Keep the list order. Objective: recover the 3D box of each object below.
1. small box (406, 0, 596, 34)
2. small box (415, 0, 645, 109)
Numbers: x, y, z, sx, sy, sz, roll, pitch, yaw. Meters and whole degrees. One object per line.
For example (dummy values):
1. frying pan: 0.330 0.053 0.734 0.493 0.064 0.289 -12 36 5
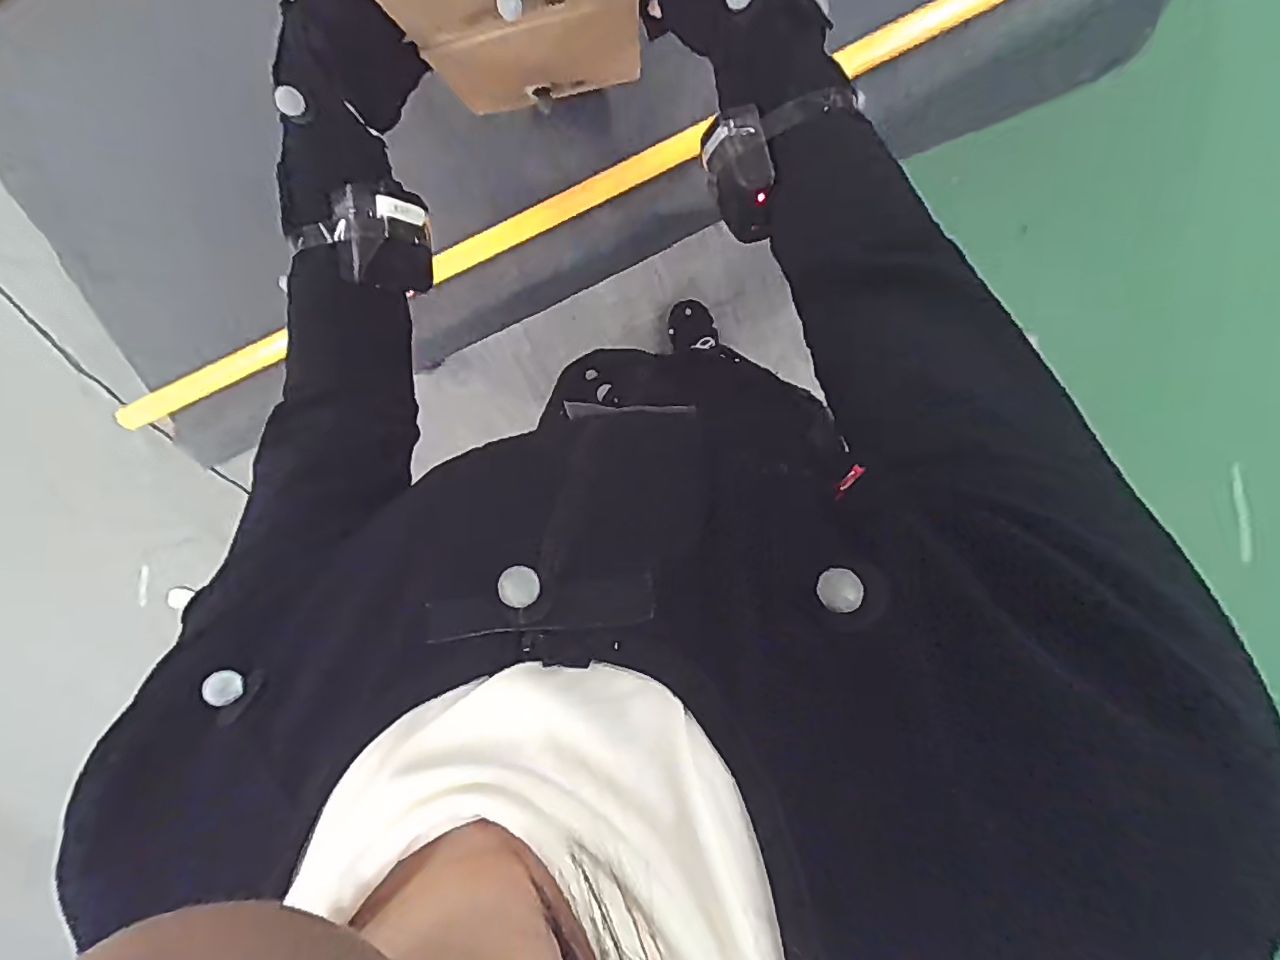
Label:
1. small box: -0.093 -0.379 0.274 0.168 0.176 0.179 -10 110 4
2. small box: -0.094 -0.434 0.429 0.168 0.176 0.179 -11 111 5
